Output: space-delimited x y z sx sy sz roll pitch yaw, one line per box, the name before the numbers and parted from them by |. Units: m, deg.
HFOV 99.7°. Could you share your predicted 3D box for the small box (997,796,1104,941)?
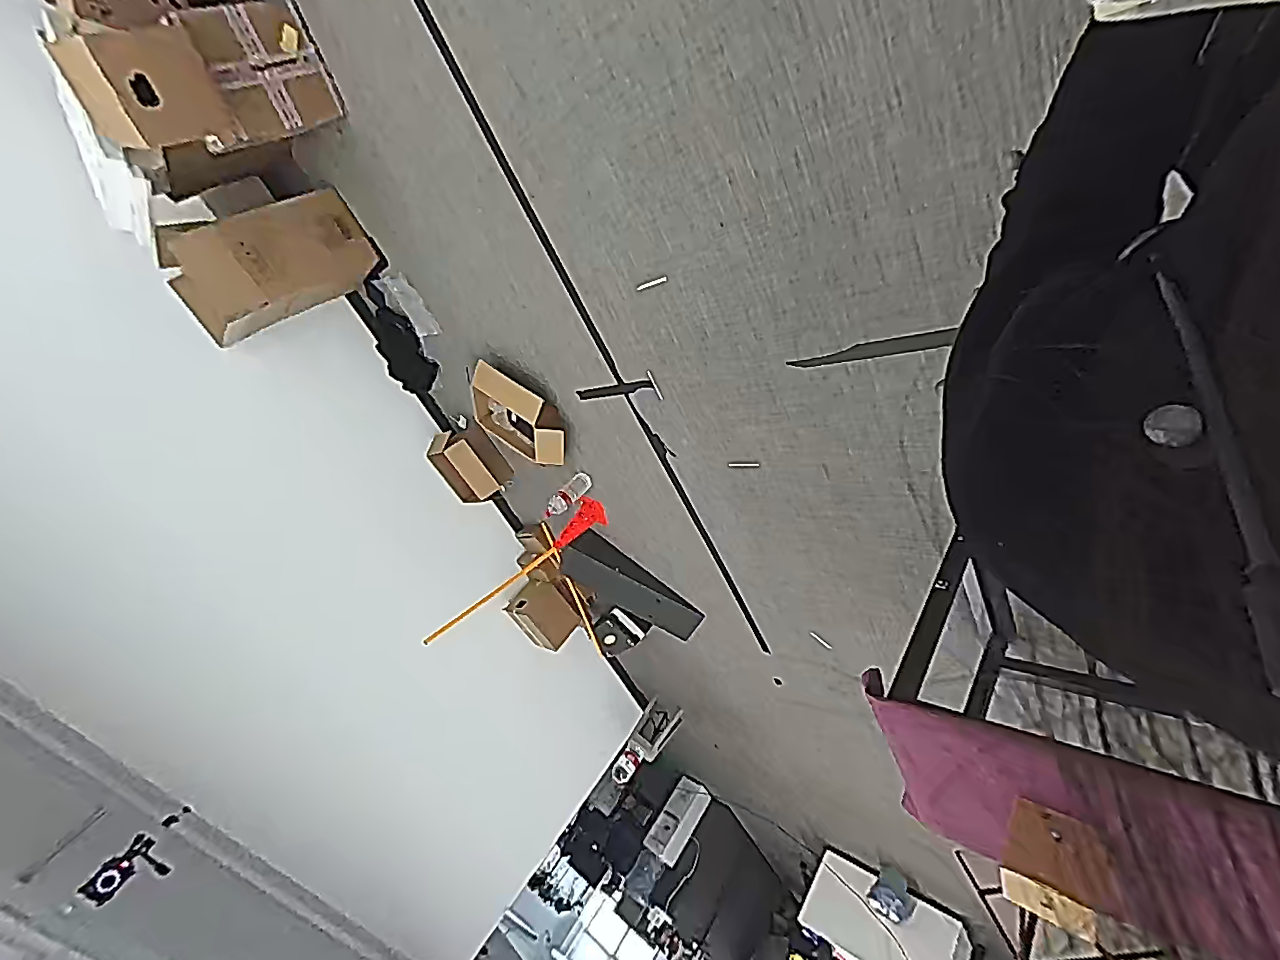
small box | 0.907 0.850 1.195 0.168 0.176 0.179 6 132 43
